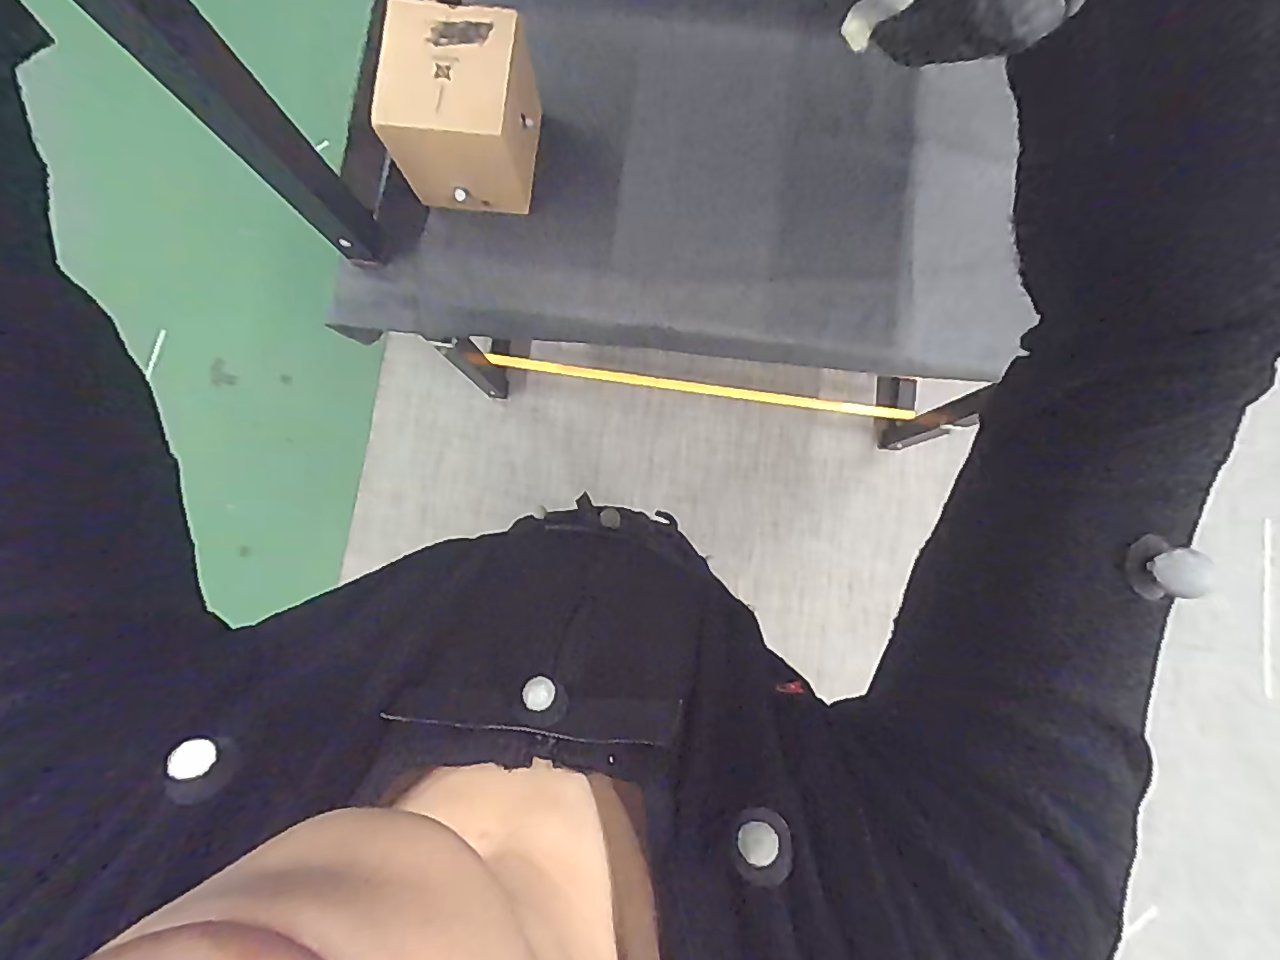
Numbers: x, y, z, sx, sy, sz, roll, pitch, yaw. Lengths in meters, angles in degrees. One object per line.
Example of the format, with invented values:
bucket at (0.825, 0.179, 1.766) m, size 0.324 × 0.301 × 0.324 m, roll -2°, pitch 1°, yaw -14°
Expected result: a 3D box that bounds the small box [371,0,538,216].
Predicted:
small box at (-0.242, -0.503, 0.750) m, size 0.168 × 0.176 × 0.179 m, roll 5°, pitch 84°, yaw 1°
